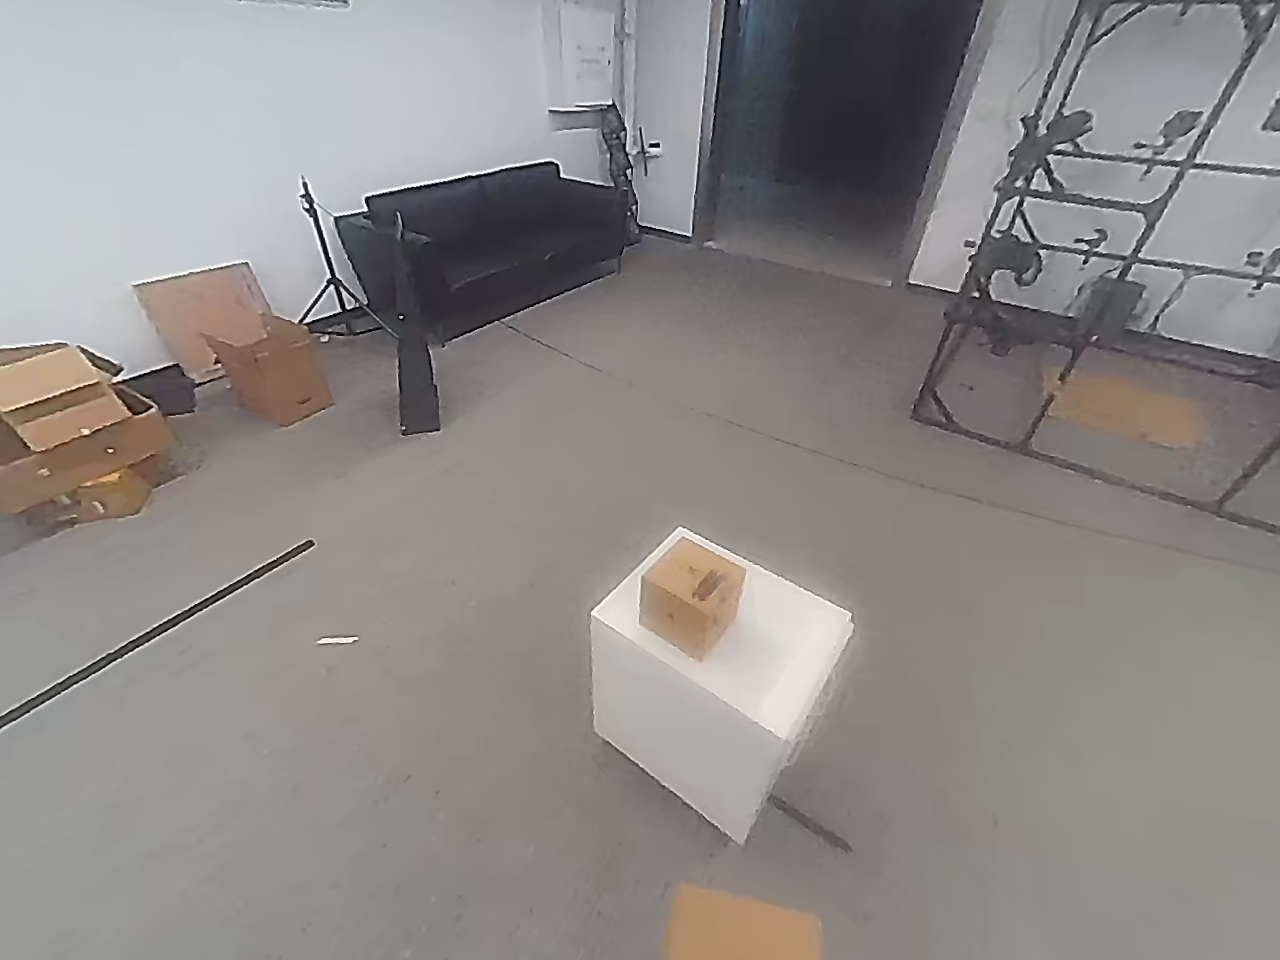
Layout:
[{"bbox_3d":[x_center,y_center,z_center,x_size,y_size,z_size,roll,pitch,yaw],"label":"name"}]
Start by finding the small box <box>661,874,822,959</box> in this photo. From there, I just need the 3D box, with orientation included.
[{"bbox_3d":[0.106,0.596,0.622,0.168,0.176,0.179,9,43,7],"label":"small box"}]
